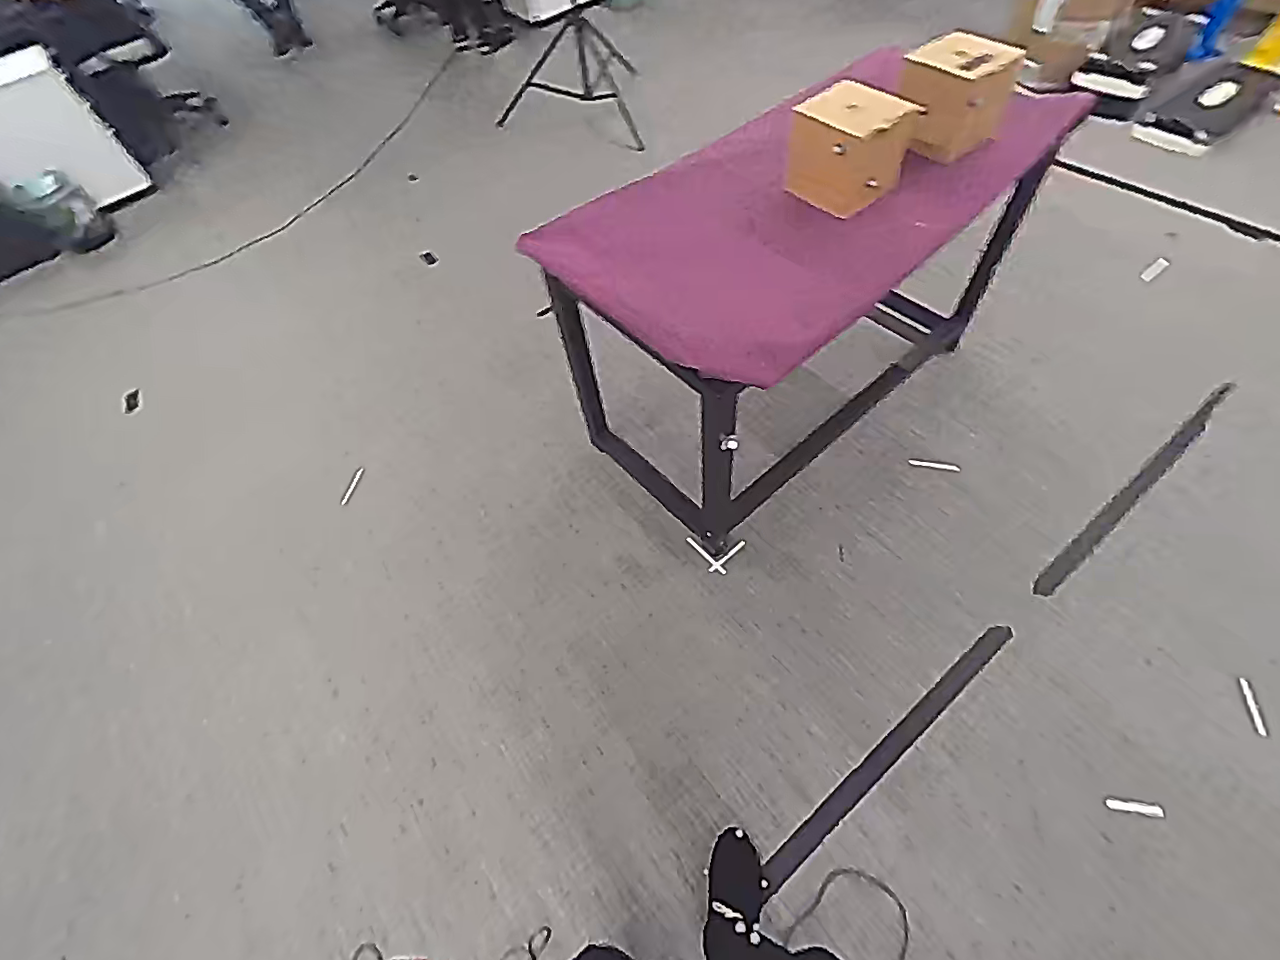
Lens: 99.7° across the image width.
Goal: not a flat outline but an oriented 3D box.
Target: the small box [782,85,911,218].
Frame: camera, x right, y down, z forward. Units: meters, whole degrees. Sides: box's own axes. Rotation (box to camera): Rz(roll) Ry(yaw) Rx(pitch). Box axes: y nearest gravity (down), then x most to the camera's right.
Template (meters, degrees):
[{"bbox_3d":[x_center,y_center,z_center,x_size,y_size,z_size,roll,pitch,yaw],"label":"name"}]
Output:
[{"bbox_3d":[0.423,-0.690,1.143,0.168,0.176,0.179,-36,61,-15],"label":"small box"}]
